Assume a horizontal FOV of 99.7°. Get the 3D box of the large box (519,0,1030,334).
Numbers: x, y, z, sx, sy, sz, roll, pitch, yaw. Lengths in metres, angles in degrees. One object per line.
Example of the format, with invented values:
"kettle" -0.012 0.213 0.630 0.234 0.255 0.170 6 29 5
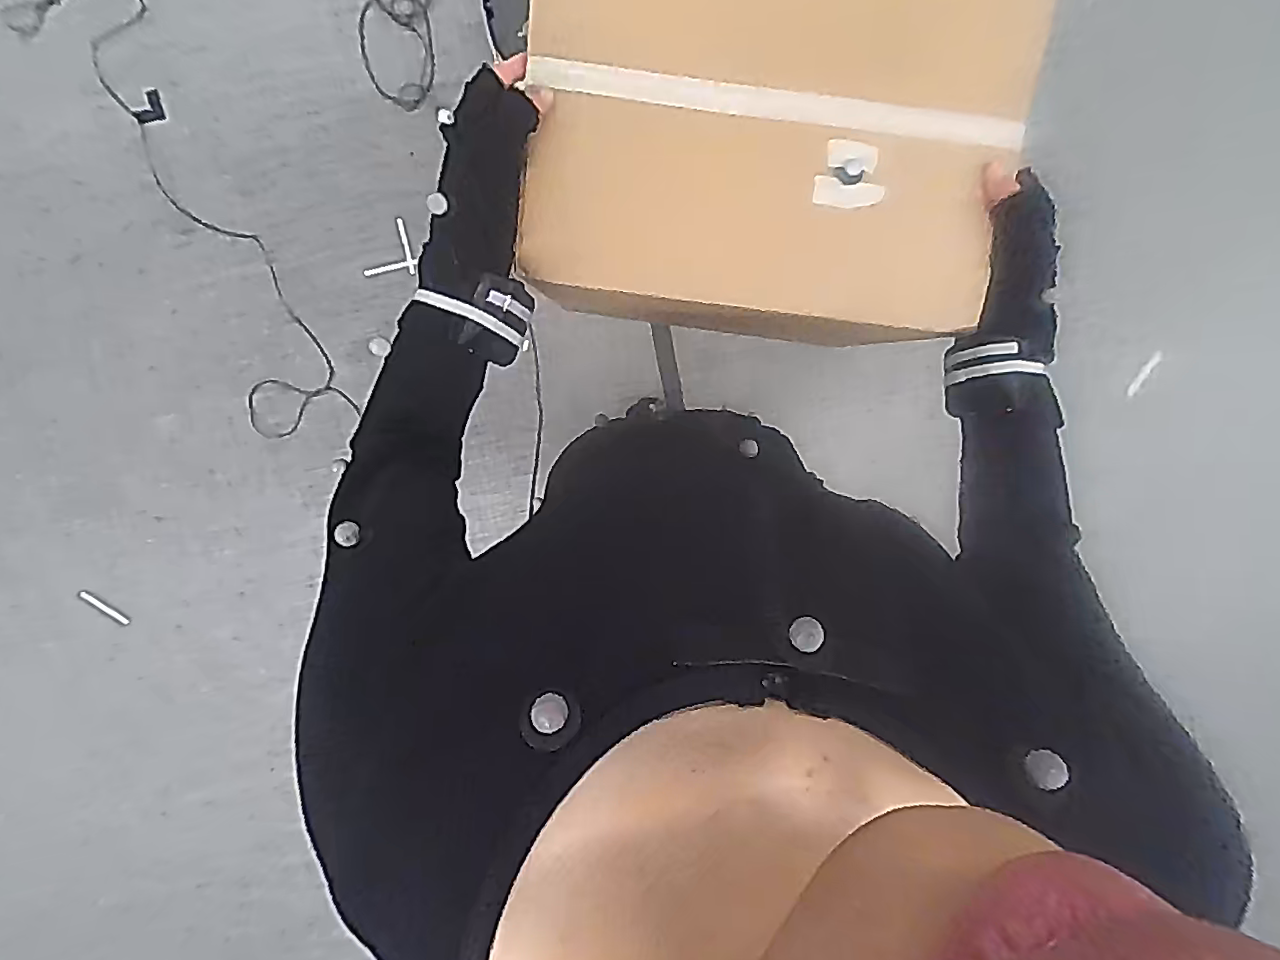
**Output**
"large box" 0.102 -0.344 0.590 0.408 0.320 0.320 6 102 -2
